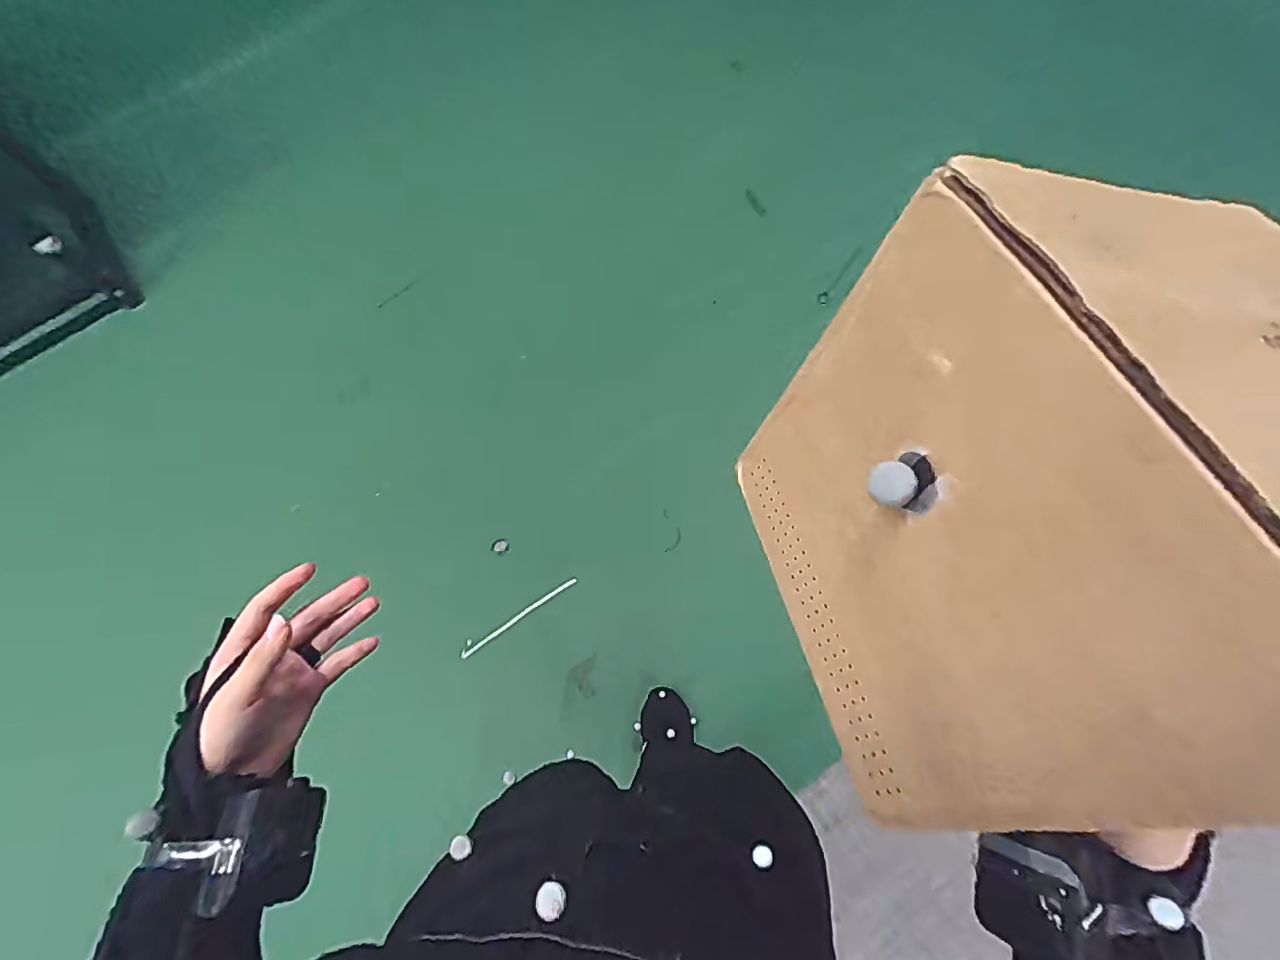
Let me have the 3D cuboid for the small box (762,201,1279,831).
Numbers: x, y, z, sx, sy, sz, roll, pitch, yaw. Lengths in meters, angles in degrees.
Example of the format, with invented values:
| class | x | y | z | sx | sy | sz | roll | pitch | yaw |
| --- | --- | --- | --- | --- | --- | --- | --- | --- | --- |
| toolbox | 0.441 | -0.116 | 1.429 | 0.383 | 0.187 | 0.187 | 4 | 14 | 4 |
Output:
| class | x | y | z | sx | sy | sz | roll | pitch | yaw |
| --- | --- | --- | --- | --- | --- | --- | --- | --- | --- |
| small box | 0.175 | 0.021 | 0.221 | 0.168 | 0.176 | 0.179 | -6 | 59 | -19 |
